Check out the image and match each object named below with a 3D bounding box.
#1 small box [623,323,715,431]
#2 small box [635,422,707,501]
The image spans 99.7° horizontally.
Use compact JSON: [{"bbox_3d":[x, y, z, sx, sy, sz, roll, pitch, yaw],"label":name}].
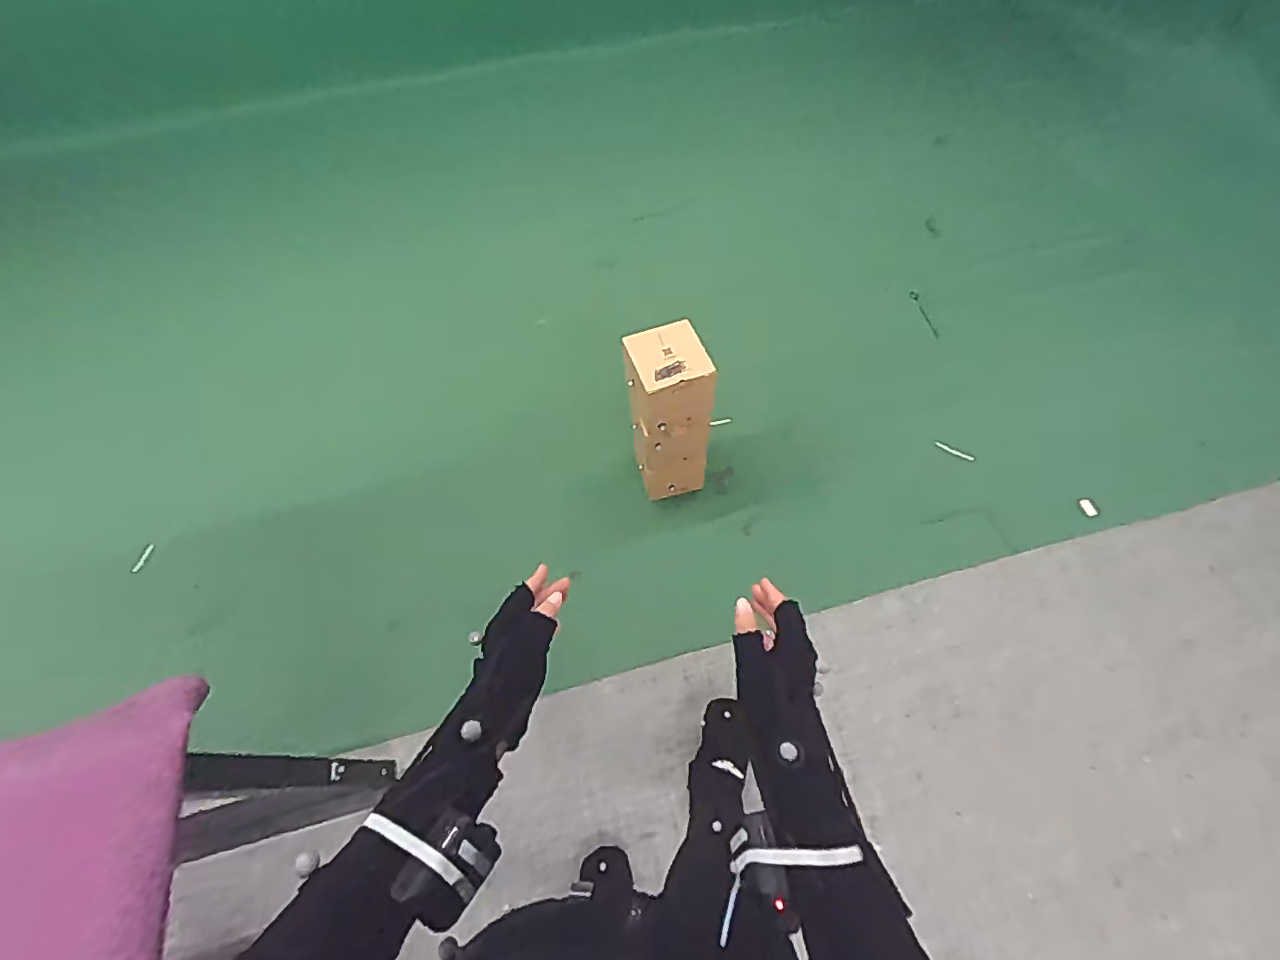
[{"bbox_3d":[0.068,-0.237,1.289,0.168,0.176,0.179,-18,60,-8],"label":"small box"},{"bbox_3d":[0.085,-0.064,1.569,0.168,0.176,0.179,-14,62,-5],"label":"small box"}]
